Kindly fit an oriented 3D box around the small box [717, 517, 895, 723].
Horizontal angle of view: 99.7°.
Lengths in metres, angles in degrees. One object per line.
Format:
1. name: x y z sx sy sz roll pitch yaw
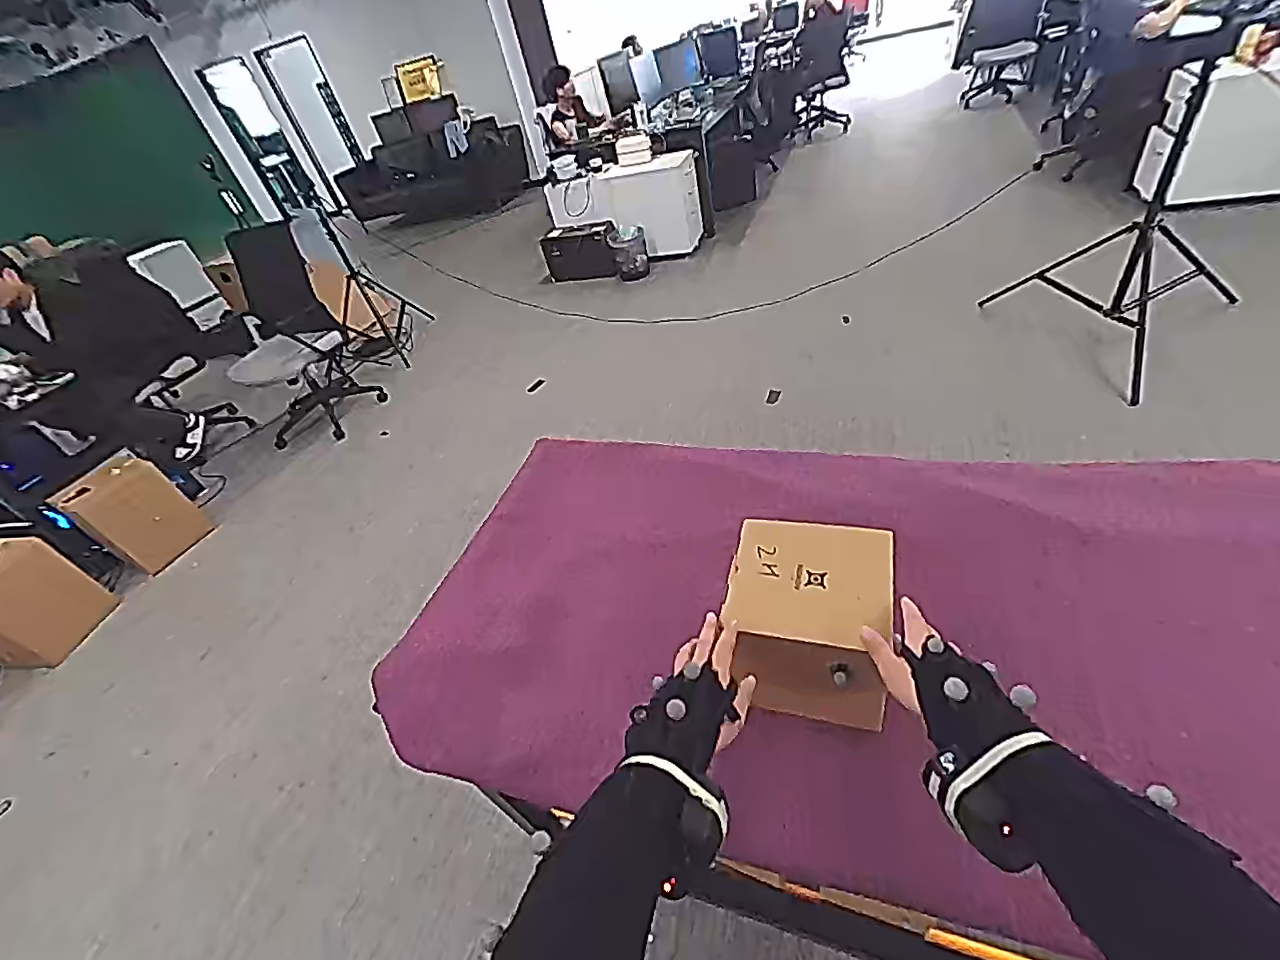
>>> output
1. small box: 0.204 0.167 0.653 0.179 0.176 0.168 4 42 22
